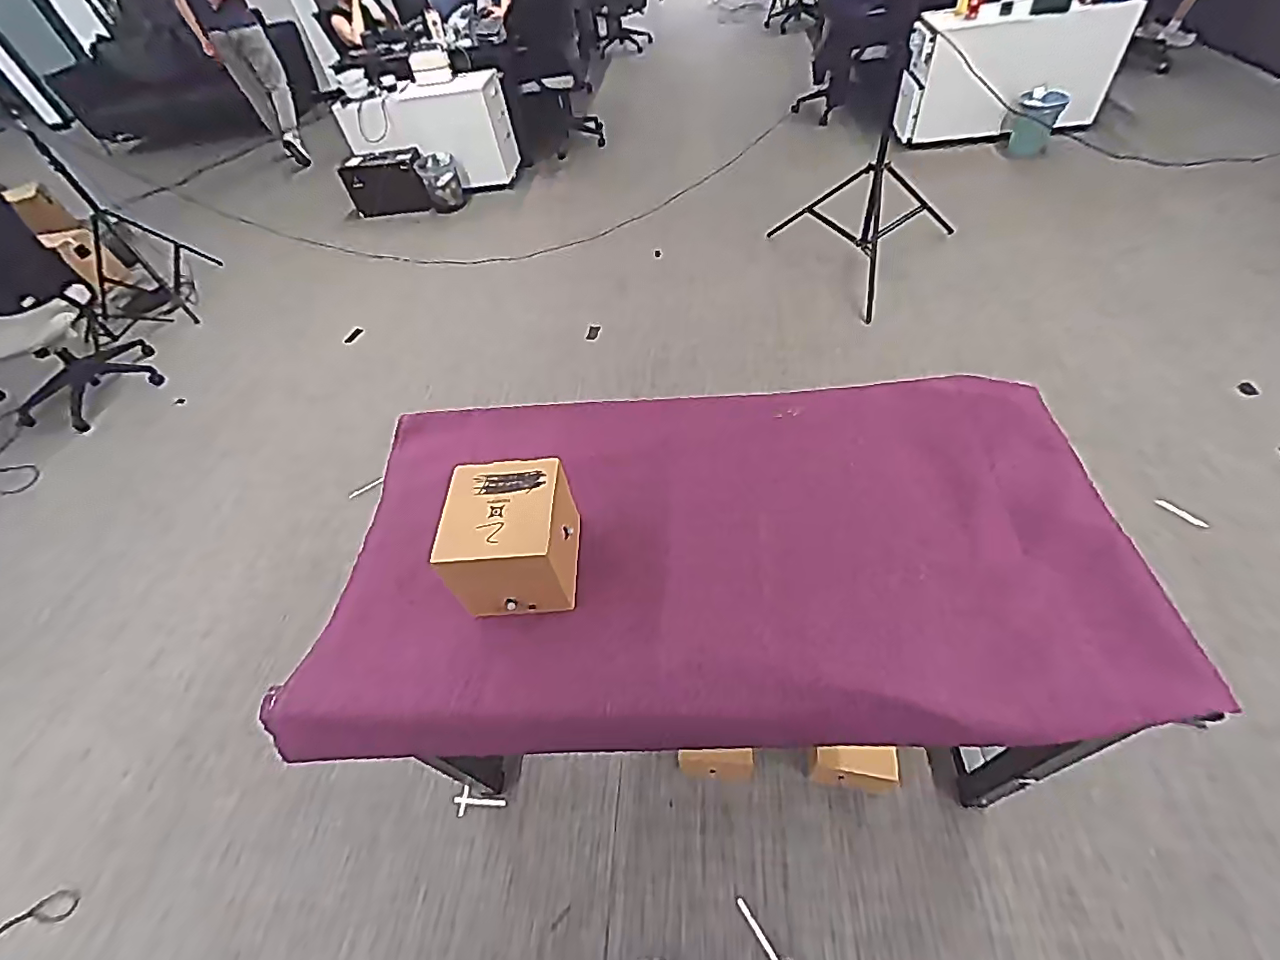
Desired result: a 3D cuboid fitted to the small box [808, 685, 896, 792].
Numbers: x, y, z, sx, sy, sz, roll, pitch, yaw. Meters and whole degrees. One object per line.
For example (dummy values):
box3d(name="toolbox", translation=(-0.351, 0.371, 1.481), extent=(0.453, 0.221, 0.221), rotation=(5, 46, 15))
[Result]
box3d(name="small box", translation=(0.488, 0.606, 1.262), extent=(0.168, 0.176, 0.179), rotation=(5, 51, 13))

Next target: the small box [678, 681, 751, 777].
box3d(name="small box", translation=(0.183, 0.605, 1.308), extent=(0.168, 0.176, 0.179), rotation=(0, 50, 8))
